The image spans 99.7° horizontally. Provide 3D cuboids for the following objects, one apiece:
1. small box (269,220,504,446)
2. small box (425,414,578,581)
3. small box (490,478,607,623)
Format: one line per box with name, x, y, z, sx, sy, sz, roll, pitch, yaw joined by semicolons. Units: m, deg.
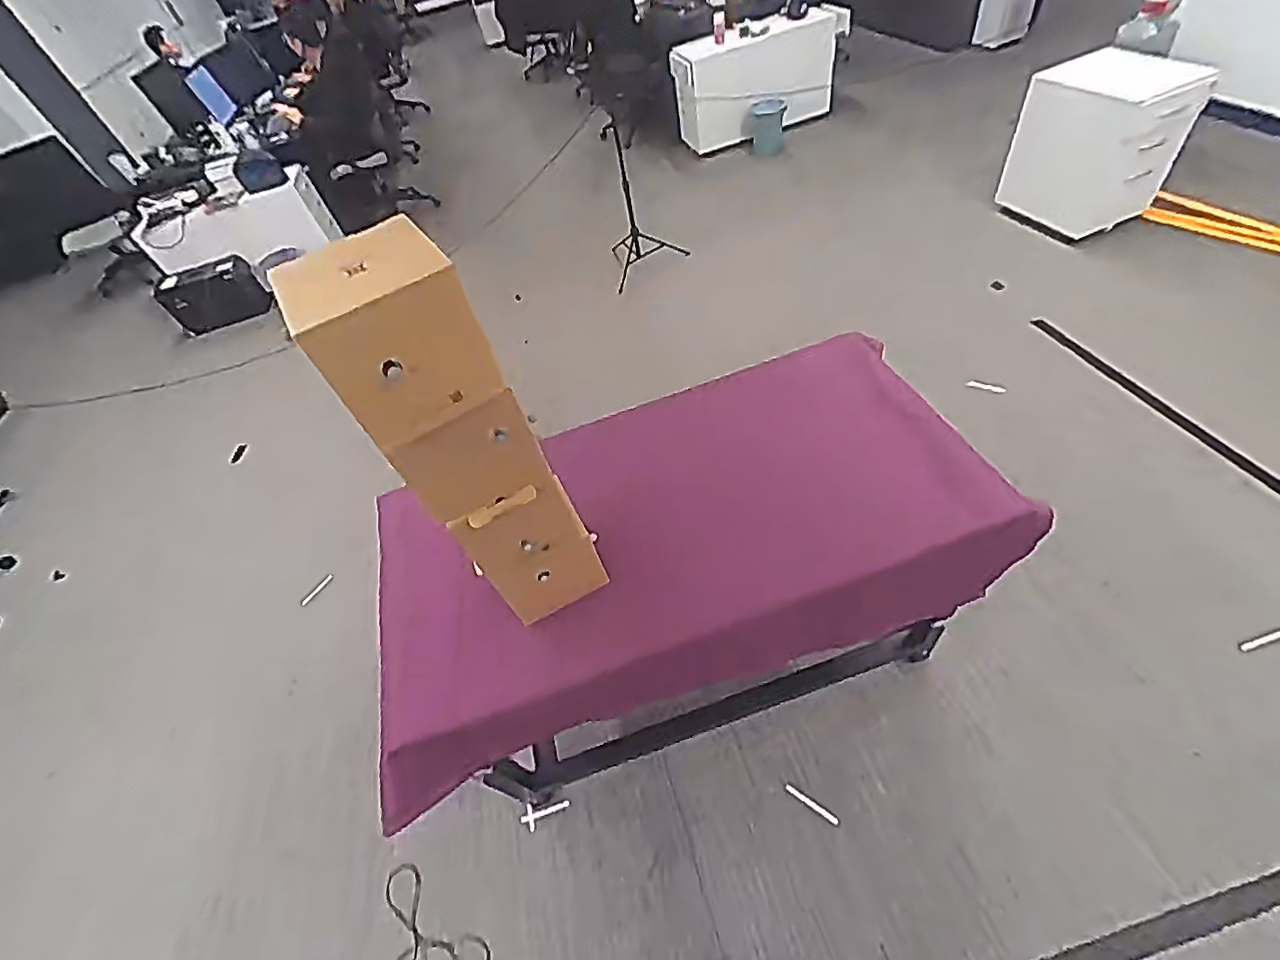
small box;-0.283;-0.164;0.626;0.168;0.176;0.179;-33;51;-15
small box;-0.222;0.031;0.883;0.168;0.176;0.179;-28;51;-9
small box;-0.183;0.135;1.005;0.179;0.176;0.168;-27;50;-10
